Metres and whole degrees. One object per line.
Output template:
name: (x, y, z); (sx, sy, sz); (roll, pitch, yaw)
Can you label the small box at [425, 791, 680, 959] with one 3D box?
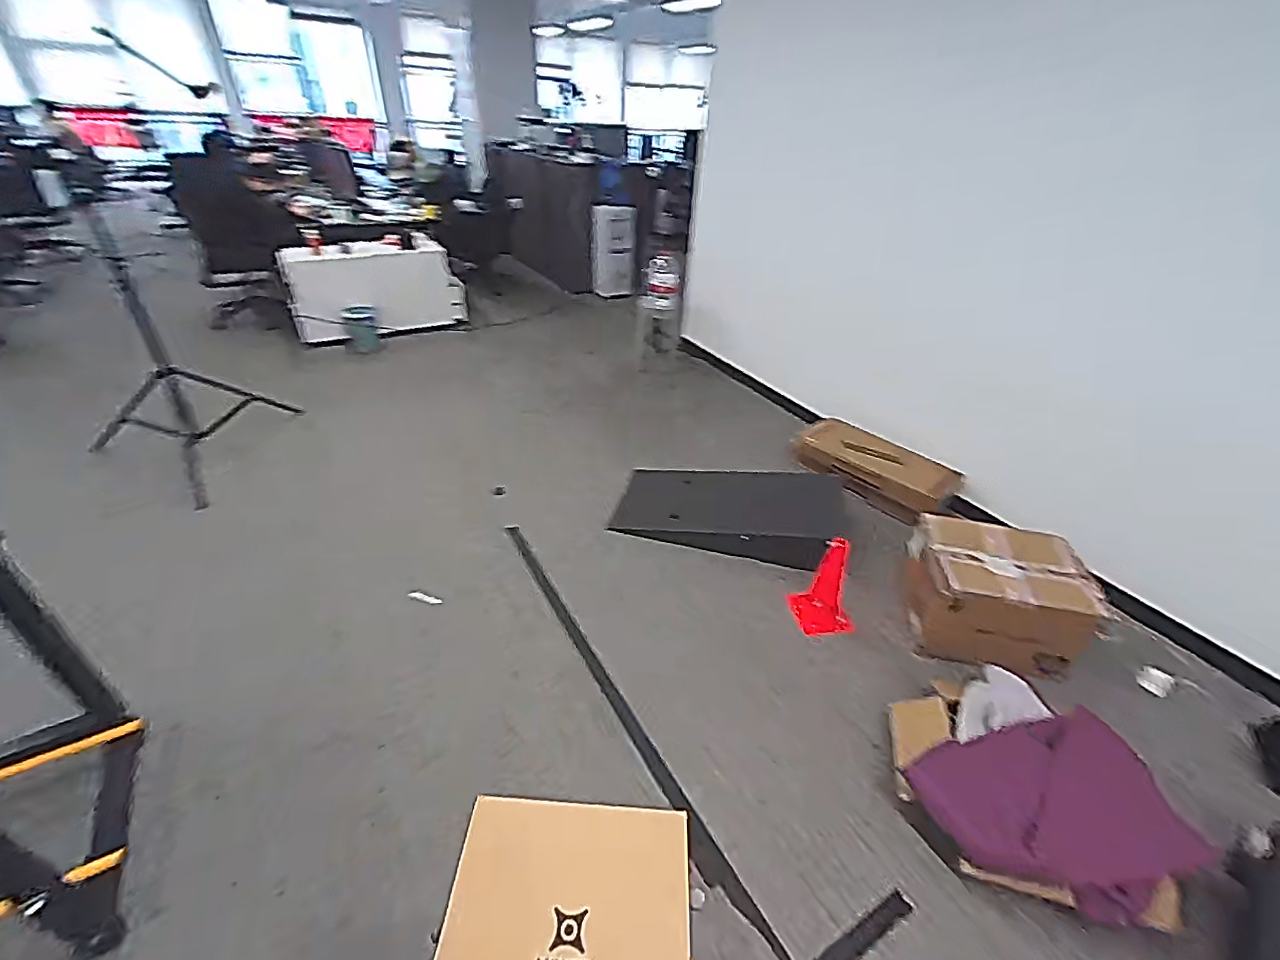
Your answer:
small box: (-0.061, 0.366, 0.405); (0.168, 0.176, 0.179); (3, 37, -1)
